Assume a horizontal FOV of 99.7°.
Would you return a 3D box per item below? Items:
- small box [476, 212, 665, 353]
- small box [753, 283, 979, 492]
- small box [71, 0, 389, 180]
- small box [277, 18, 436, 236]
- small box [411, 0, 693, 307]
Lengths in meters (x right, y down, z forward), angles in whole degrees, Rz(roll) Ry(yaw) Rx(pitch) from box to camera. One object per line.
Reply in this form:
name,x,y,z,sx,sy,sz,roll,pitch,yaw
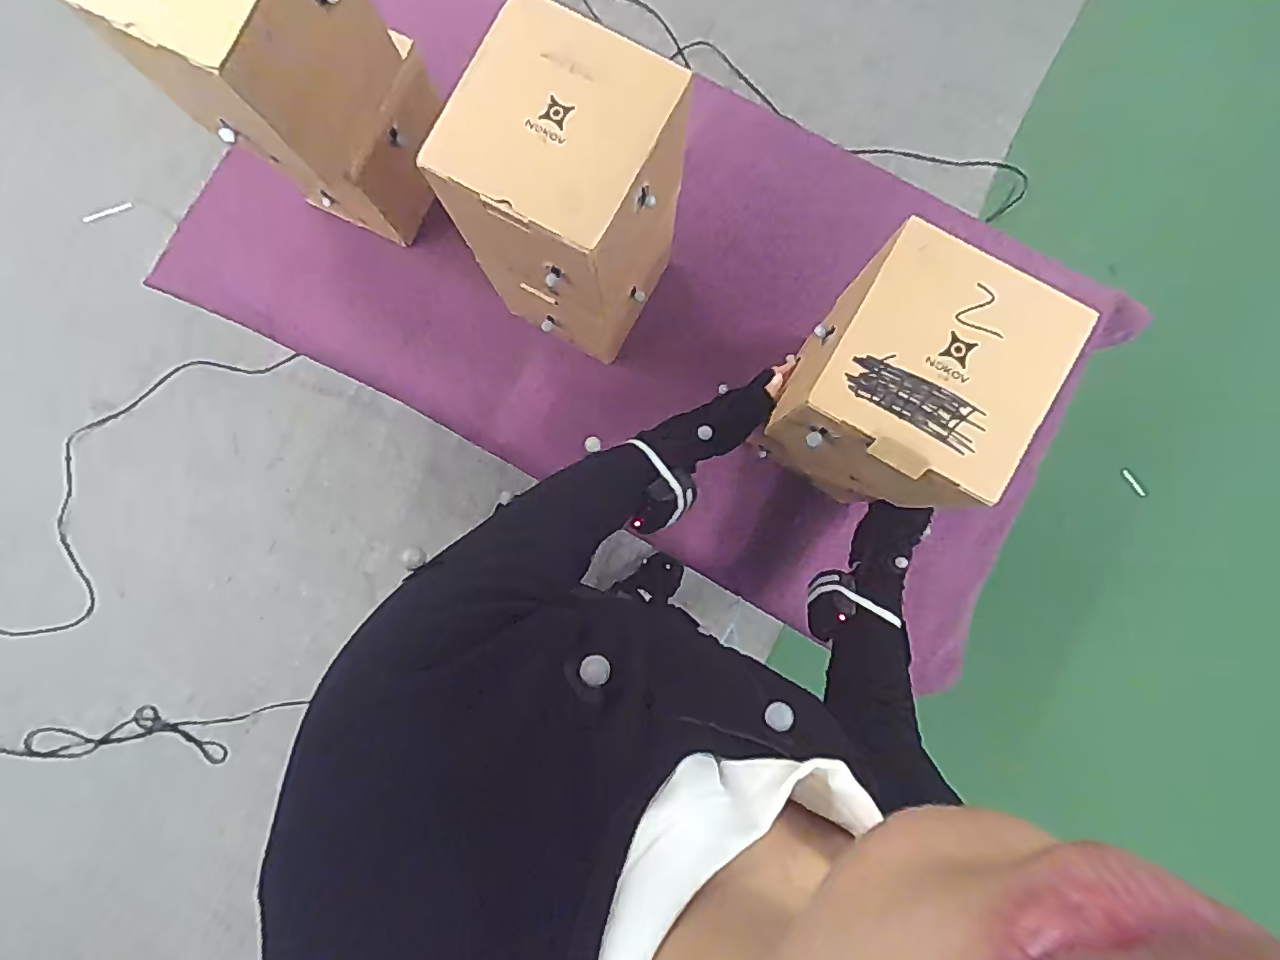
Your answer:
small box,-0.072,-0.285,0.679,0.168,0.176,0.179,25,87,3
small box,0.257,-0.097,0.666,0.168,0.176,0.179,33,87,2
small box,-0.375,-0.441,0.521,0.168,0.176,0.179,26,88,1
small box,-0.363,-0.453,0.687,0.168,0.176,0.179,24,88,1
small box,-0.066,-0.291,0.497,0.168,0.176,0.179,28,87,2
